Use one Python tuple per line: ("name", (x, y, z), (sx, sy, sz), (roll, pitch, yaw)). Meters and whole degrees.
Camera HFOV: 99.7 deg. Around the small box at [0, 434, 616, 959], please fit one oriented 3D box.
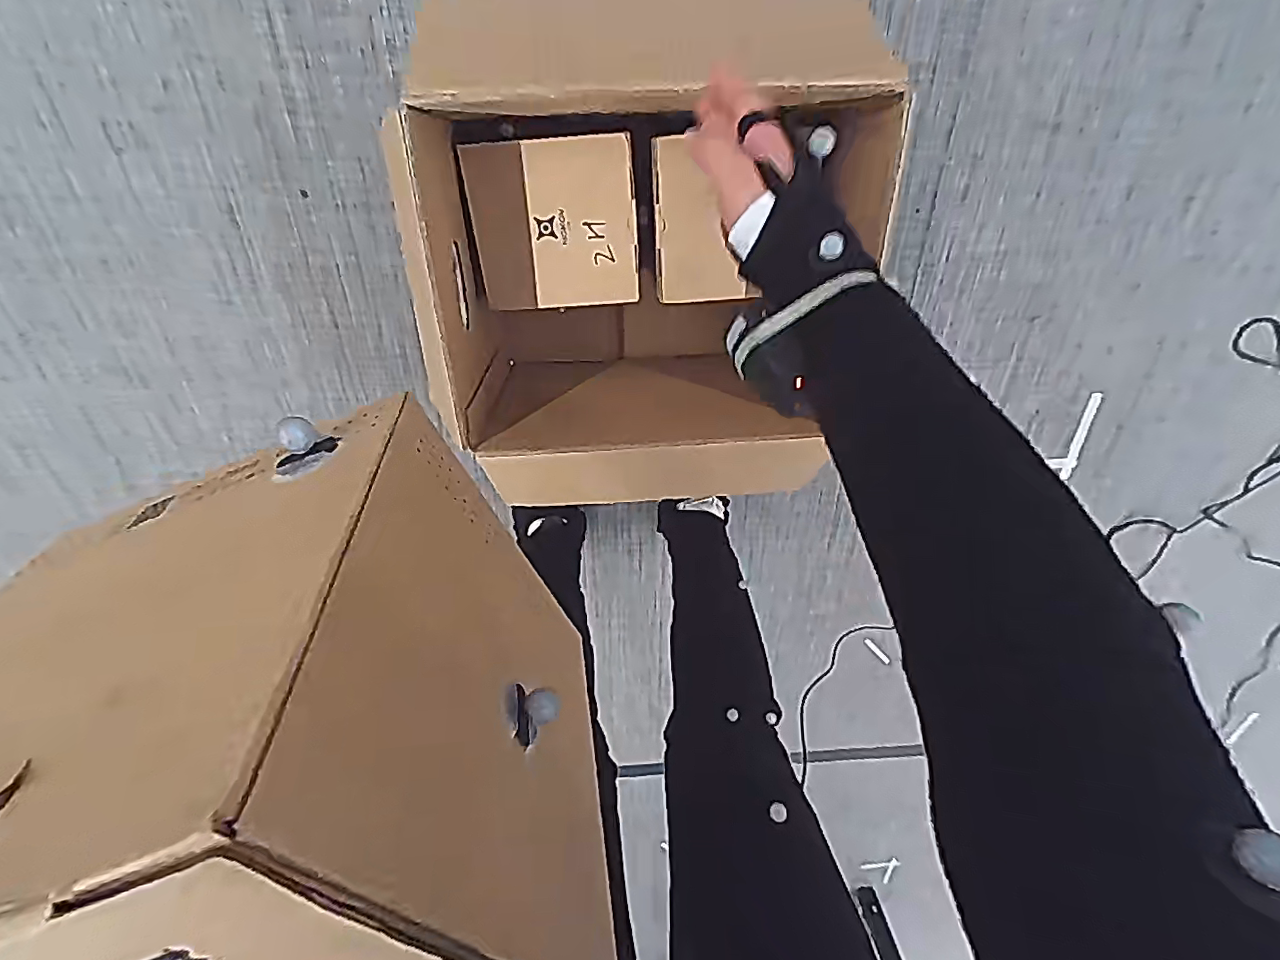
("small box", (-0.124, 0.103, 0.209), (0.168, 0.176, 0.179), (-22, 126, 4))
